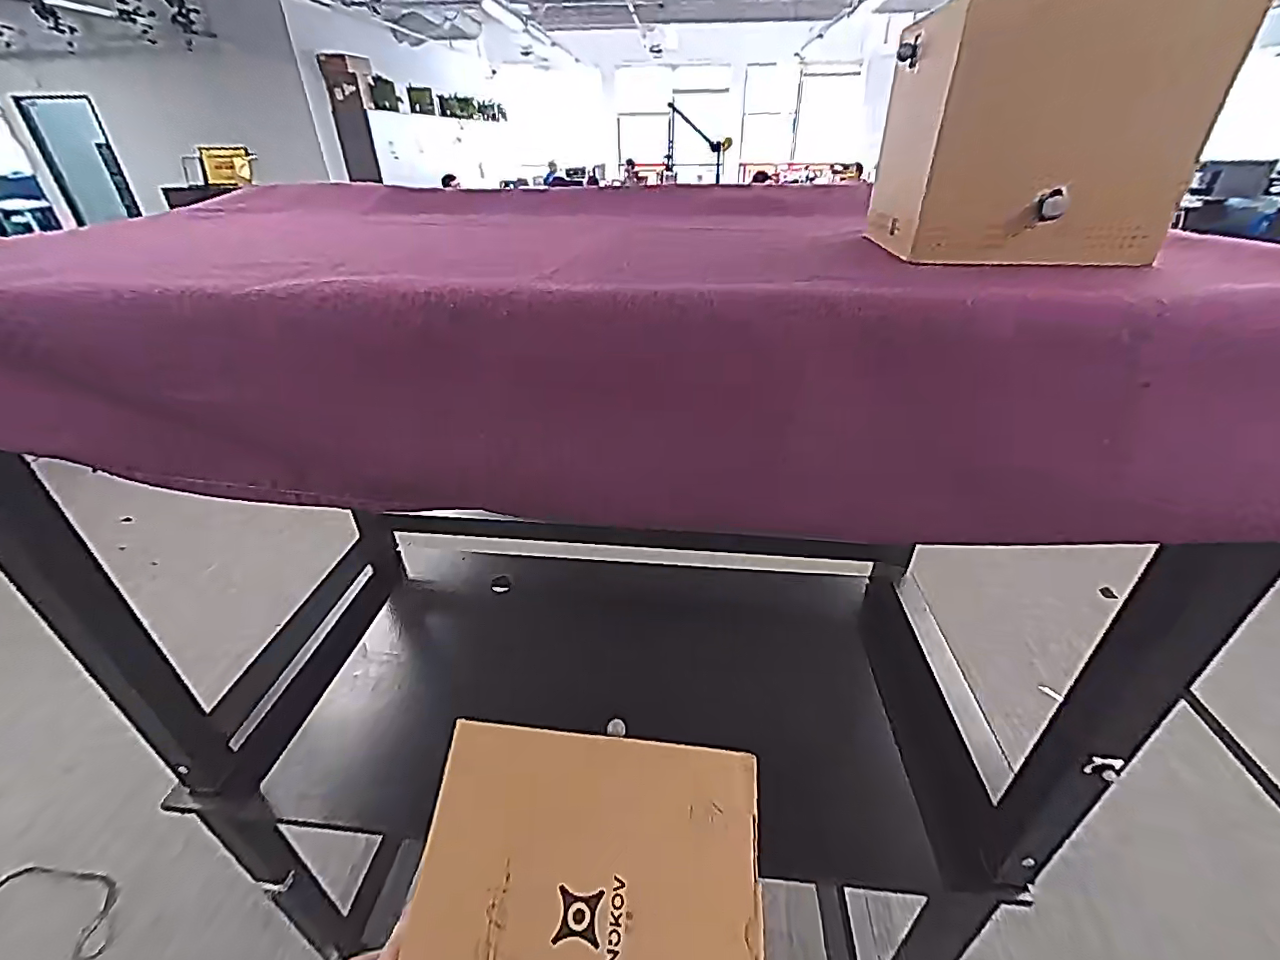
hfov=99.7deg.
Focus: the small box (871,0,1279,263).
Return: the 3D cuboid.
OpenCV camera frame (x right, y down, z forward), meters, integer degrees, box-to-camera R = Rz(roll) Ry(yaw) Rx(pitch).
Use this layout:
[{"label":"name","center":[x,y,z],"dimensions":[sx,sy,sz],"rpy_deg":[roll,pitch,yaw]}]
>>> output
[{"label":"small box","center":[0.307,-0.276,0.433],"dimensions":[0.179,0.176,0.168],"rpy_deg":[4,31,7]}]
